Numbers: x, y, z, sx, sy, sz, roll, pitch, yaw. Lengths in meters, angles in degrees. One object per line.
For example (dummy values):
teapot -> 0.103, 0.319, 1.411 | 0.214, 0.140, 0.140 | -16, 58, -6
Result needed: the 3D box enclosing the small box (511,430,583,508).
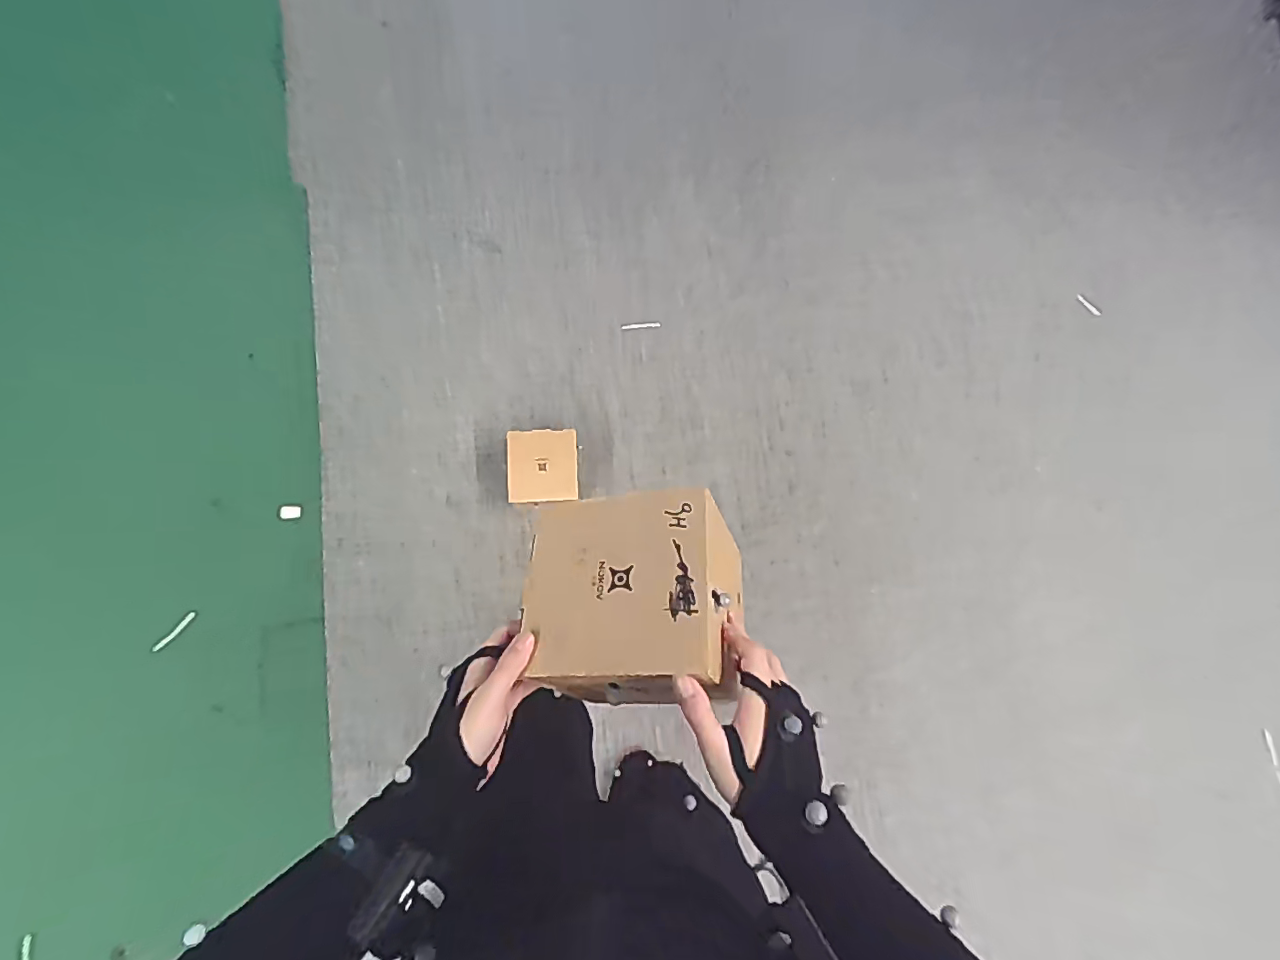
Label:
small box -> -0.232, -0.021, 1.374 | 0.168, 0.176, 0.179 | -3, 80, -6
